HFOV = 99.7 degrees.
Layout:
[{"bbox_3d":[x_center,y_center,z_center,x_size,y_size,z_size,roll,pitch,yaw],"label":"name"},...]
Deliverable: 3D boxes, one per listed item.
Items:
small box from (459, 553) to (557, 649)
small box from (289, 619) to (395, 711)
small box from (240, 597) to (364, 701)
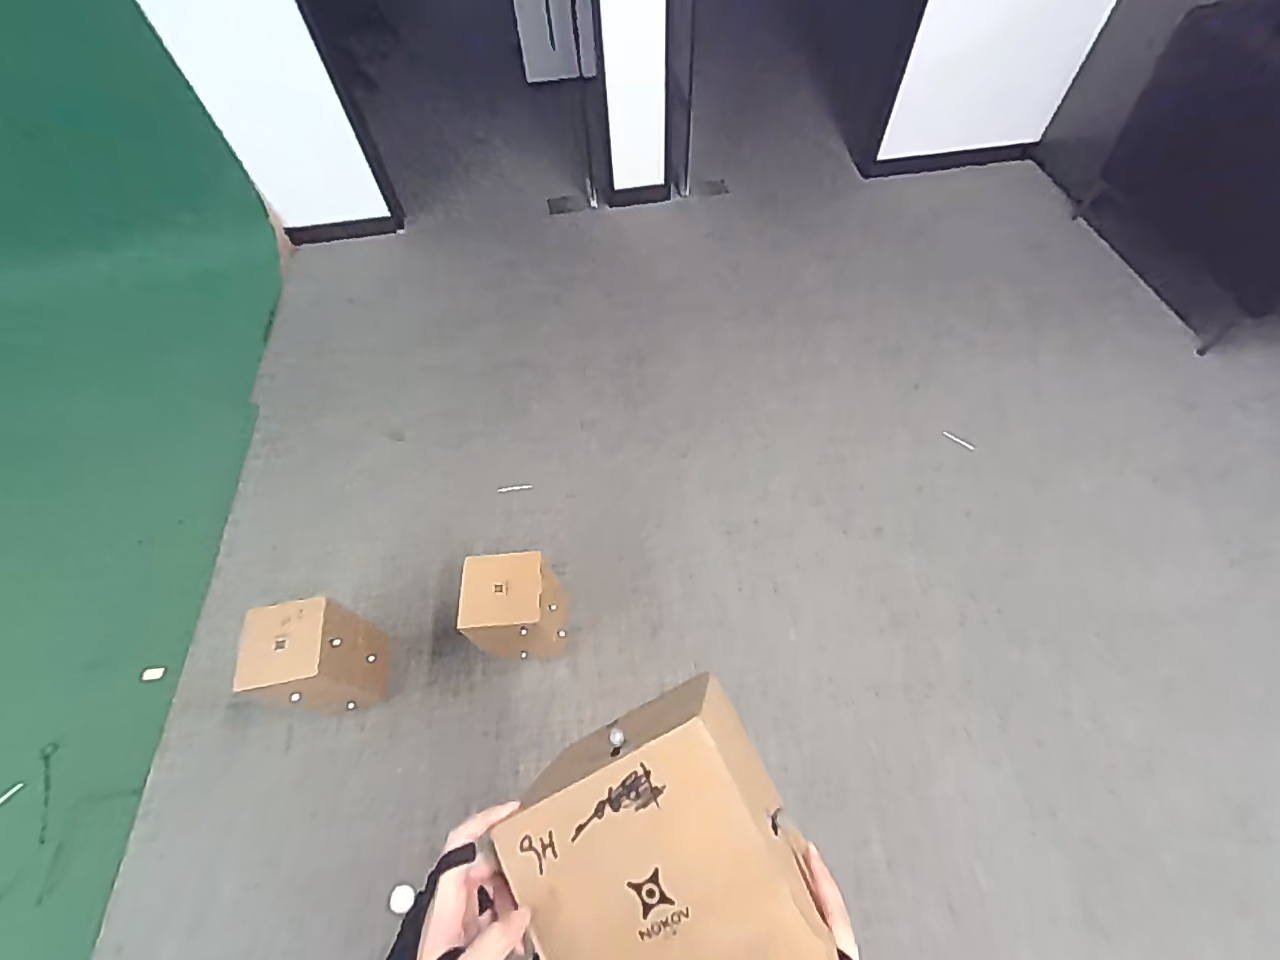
[{"bbox_3d":[-0.294,0.281,1.241,0.179,0.176,0.168,-4,58,0],"label":"small box"},{"bbox_3d":[-0.727,0.464,1.340,0.168,0.176,0.179,-8,58,-4],"label":"small box"},{"bbox_3d":[-0.735,0.380,1.199,0.168,0.176,0.179,-9,58,-5],"label":"small box"}]
